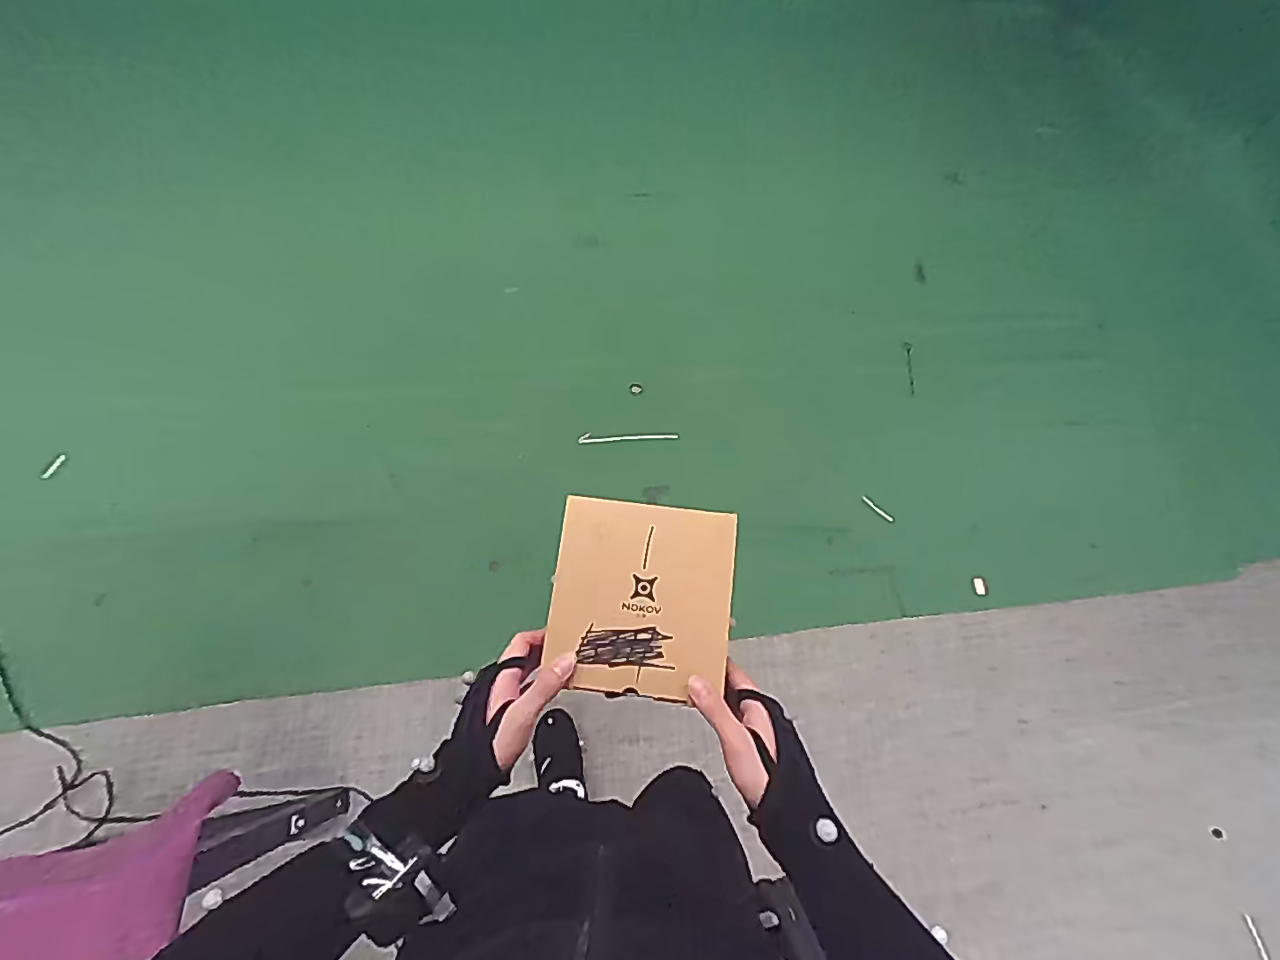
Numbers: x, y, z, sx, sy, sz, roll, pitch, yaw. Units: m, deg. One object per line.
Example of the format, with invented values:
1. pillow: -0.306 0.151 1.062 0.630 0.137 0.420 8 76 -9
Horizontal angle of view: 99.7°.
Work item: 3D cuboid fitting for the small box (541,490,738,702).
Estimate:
1. small box: 0.003 0.121 0.574 0.168 0.176 0.179 7 76 1
